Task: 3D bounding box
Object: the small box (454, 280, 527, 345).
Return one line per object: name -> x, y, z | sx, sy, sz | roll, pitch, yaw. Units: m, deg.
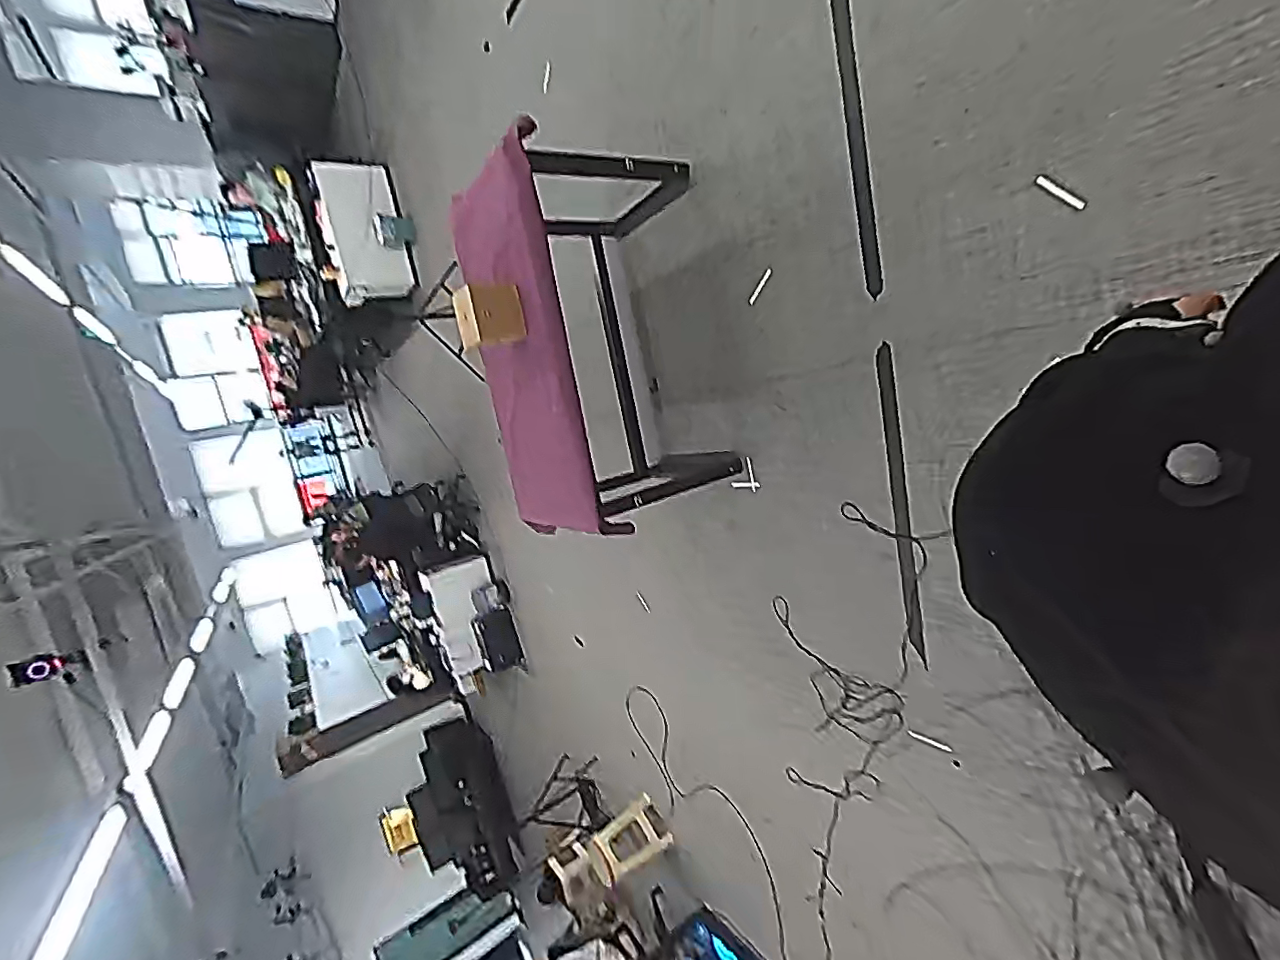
small box -> -0.490, -0.554, 1.785 | 0.168, 0.176, 0.179 | 4, 107, 54
